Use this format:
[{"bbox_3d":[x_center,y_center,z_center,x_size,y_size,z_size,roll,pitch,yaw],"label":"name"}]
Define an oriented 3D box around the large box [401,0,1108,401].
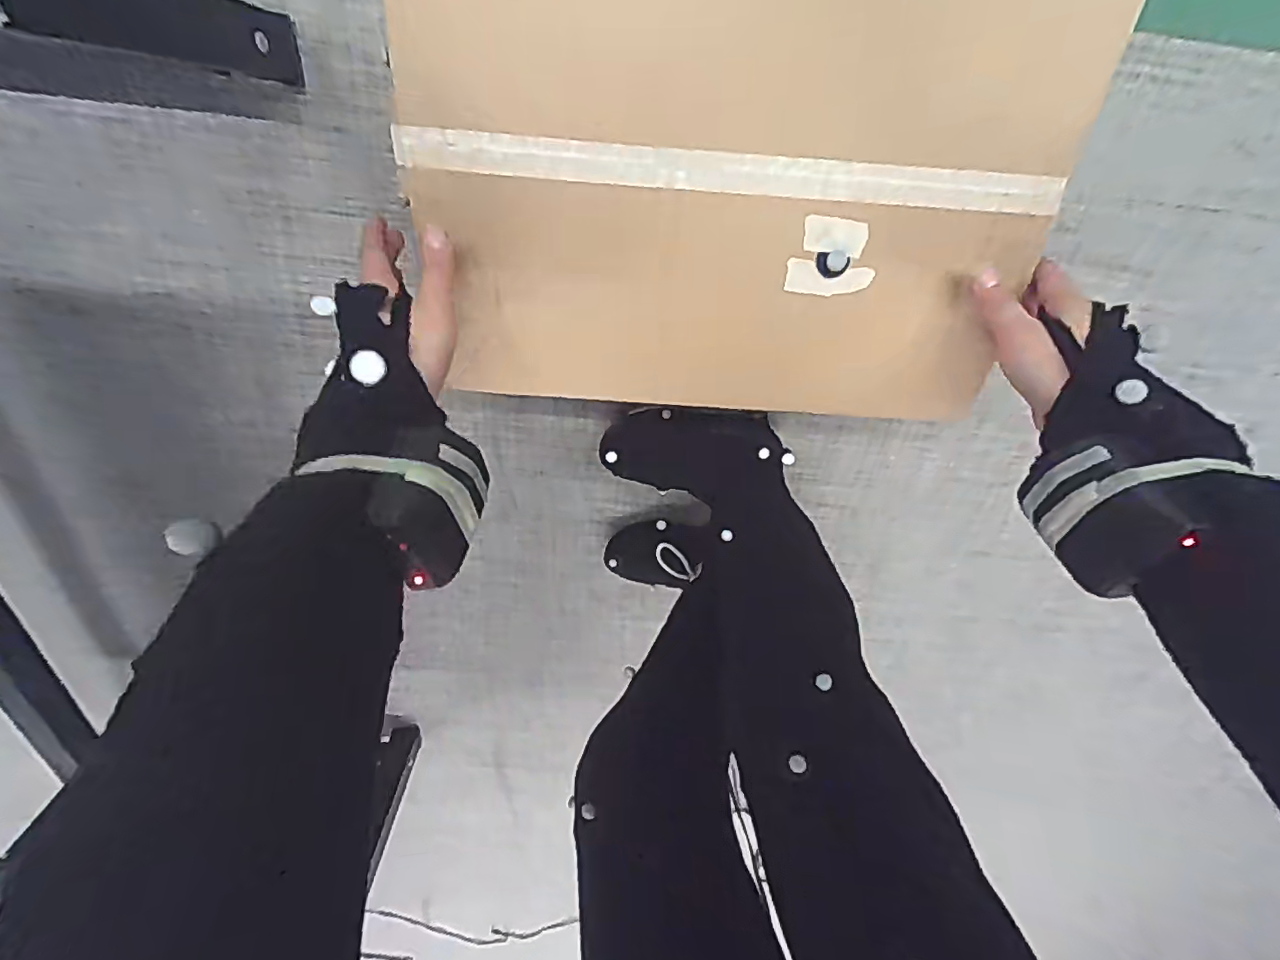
[{"bbox_3d":[0.057,-0.273,0.472,0.408,0.320,0.320,2,121,-3],"label":"large box"}]
